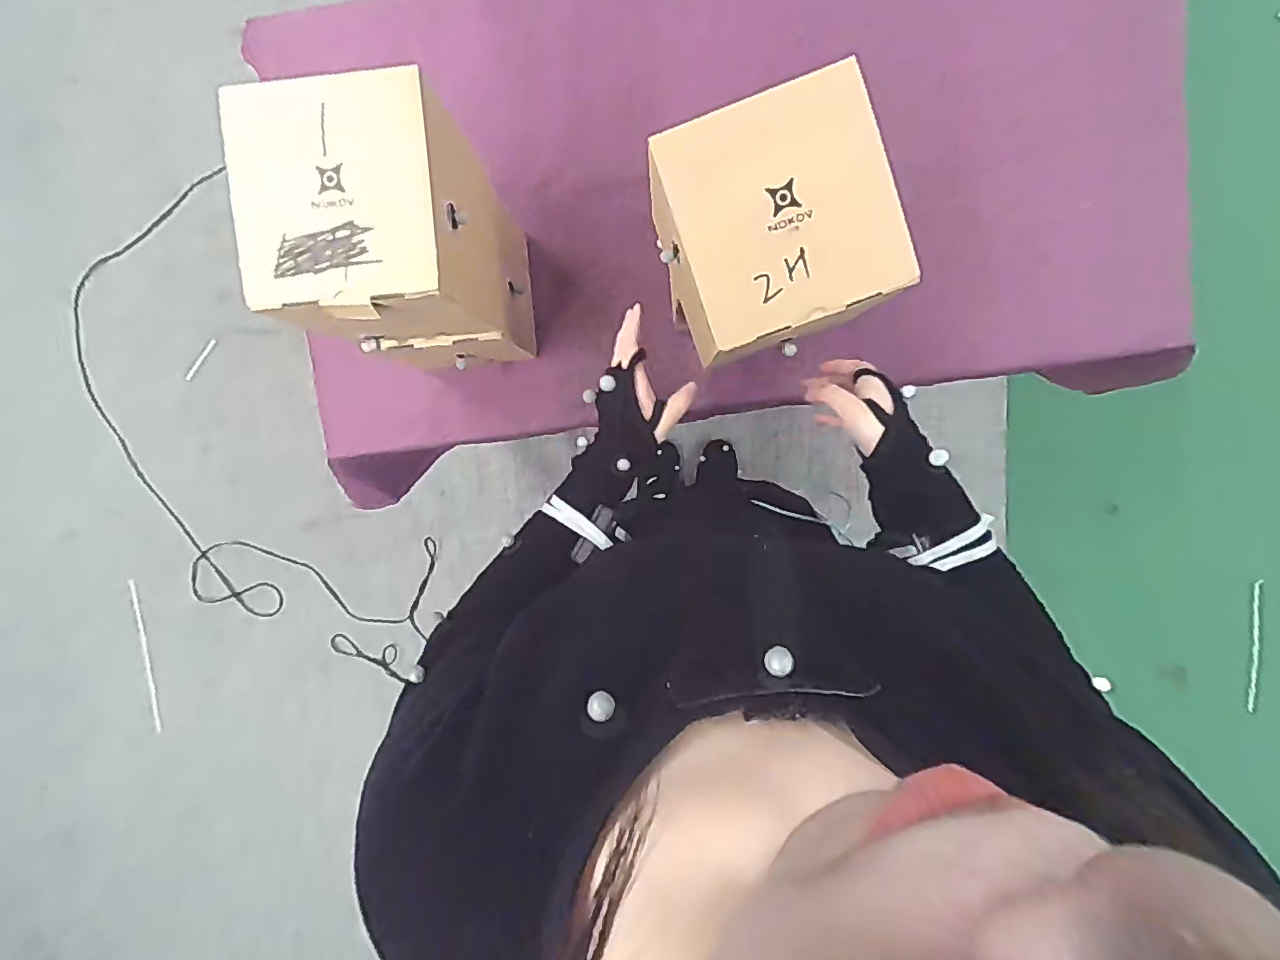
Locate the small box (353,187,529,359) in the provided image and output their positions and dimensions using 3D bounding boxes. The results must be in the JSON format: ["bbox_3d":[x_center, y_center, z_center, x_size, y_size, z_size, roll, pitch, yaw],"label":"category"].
[{"bbox_3d":[-0.242,-0.247,0.673,0.168,0.176,0.179,-4,96,2],"label":"small box"}]

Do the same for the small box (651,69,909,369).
[{"bbox_3d":[0.111,-0.215,0.499,0.168,0.176,0.179,-18,96,4],"label":"small box"}]

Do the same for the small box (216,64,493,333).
[{"bbox_3d":[-0.245,-0.239,0.509,0.168,0.176,0.179,-3,94,2],"label":"small box"}]
